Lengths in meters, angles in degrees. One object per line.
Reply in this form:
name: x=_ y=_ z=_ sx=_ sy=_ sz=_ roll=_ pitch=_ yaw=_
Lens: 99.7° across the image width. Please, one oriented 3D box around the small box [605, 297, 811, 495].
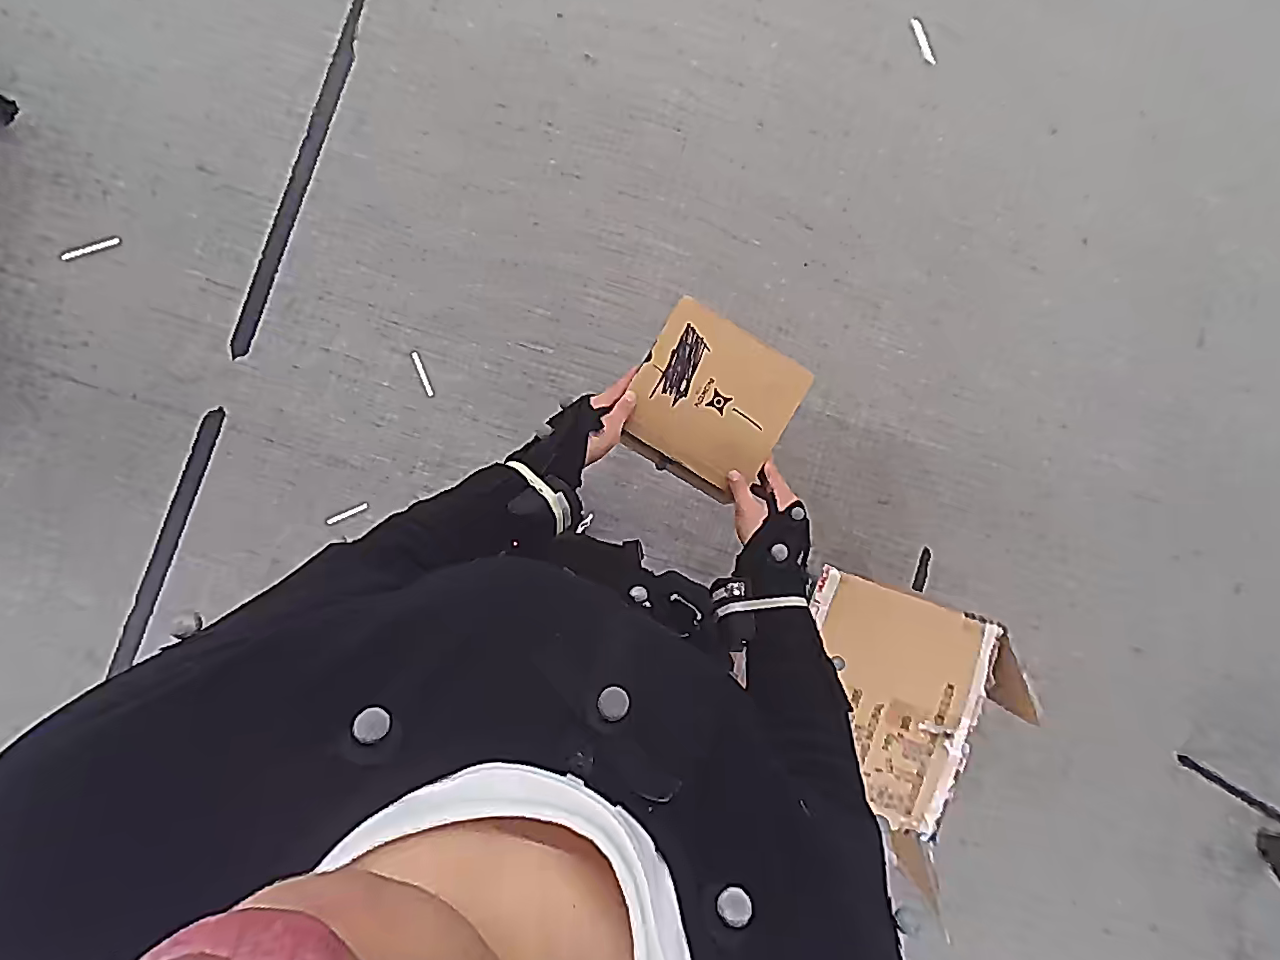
small box: x=0.077 y=-0.088 z=0.675 sx=0.179 sy=0.176 sz=0.168 roll=31 pitch=88 yaw=4
